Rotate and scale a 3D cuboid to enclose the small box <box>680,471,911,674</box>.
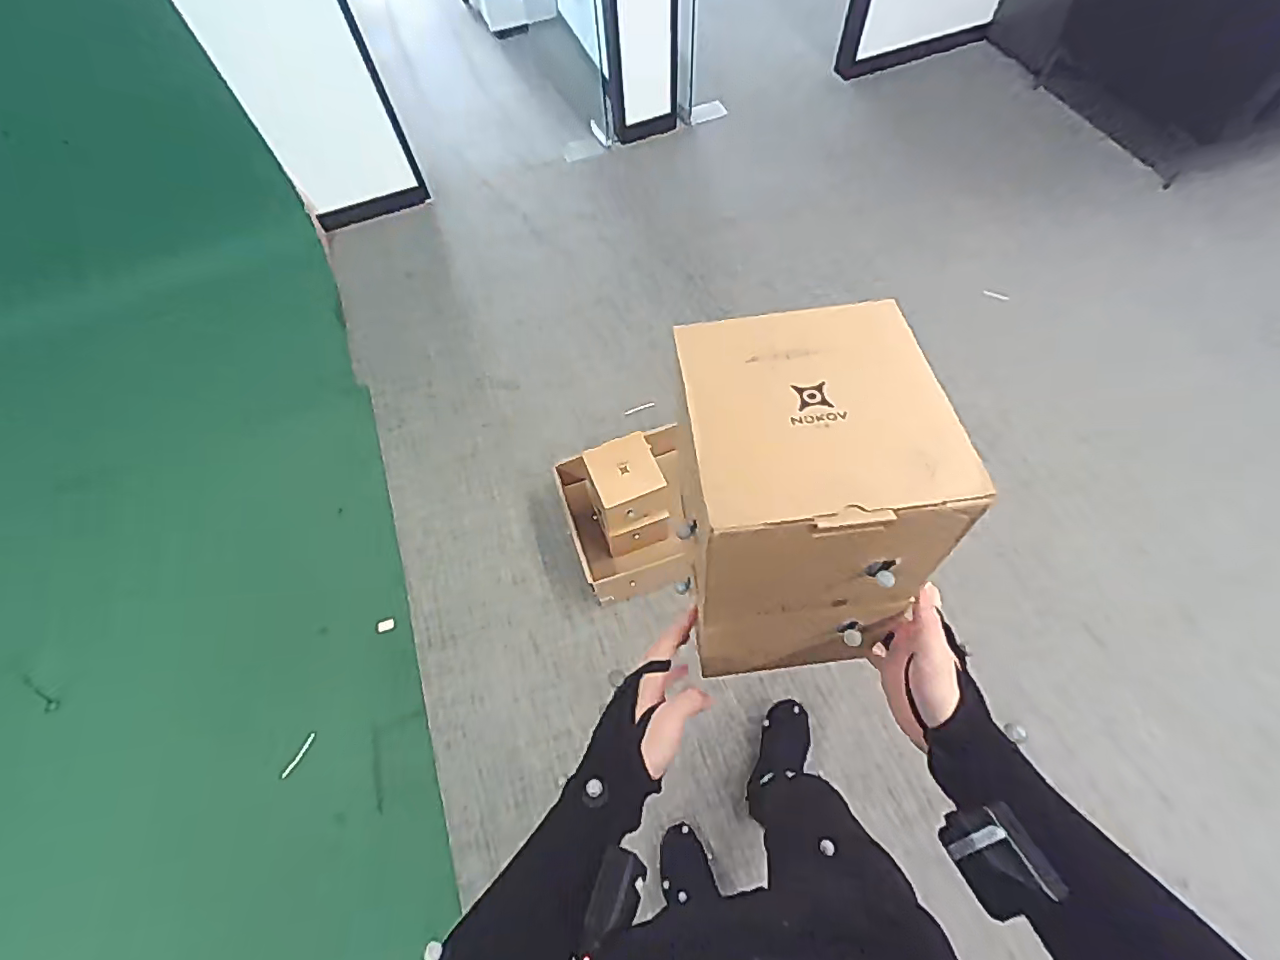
[{"bbox_3d":[0.138,0.089,0.554,0.179,0.176,0.168,-8,55,2],"label":"small box"}]

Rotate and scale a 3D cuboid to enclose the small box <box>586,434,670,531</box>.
[{"bbox_3d":[-0.027,0.015,1.414,0.168,0.176,0.179,-22,63,-8],"label":"small box"}]

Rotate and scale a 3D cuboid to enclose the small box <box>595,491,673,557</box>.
[{"bbox_3d":[-0.014,0.102,1.551,0.179,0.176,0.168,-19,64,-9],"label":"small box"}]

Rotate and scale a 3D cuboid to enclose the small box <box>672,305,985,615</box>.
[{"bbox_3d":[0.119,-0.004,0.421,0.168,0.176,0.179,-7,55,2],"label":"small box"}]
